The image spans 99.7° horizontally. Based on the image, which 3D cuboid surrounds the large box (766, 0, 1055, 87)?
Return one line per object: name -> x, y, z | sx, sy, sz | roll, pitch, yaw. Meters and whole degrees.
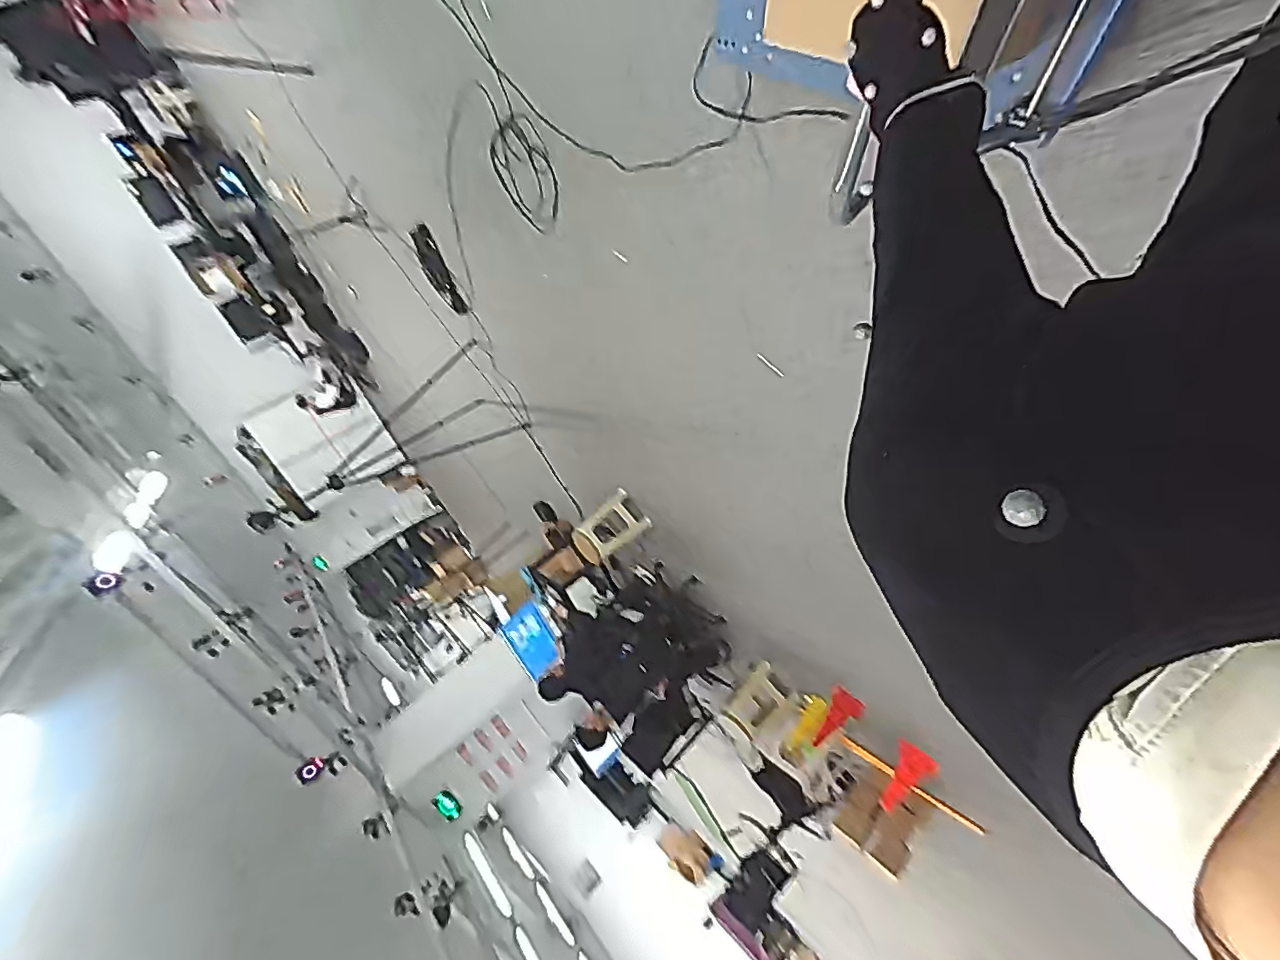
large box -> 0.491, -0.928, 0.923 | 0.408, 0.320, 0.320 | 39, 151, 27
